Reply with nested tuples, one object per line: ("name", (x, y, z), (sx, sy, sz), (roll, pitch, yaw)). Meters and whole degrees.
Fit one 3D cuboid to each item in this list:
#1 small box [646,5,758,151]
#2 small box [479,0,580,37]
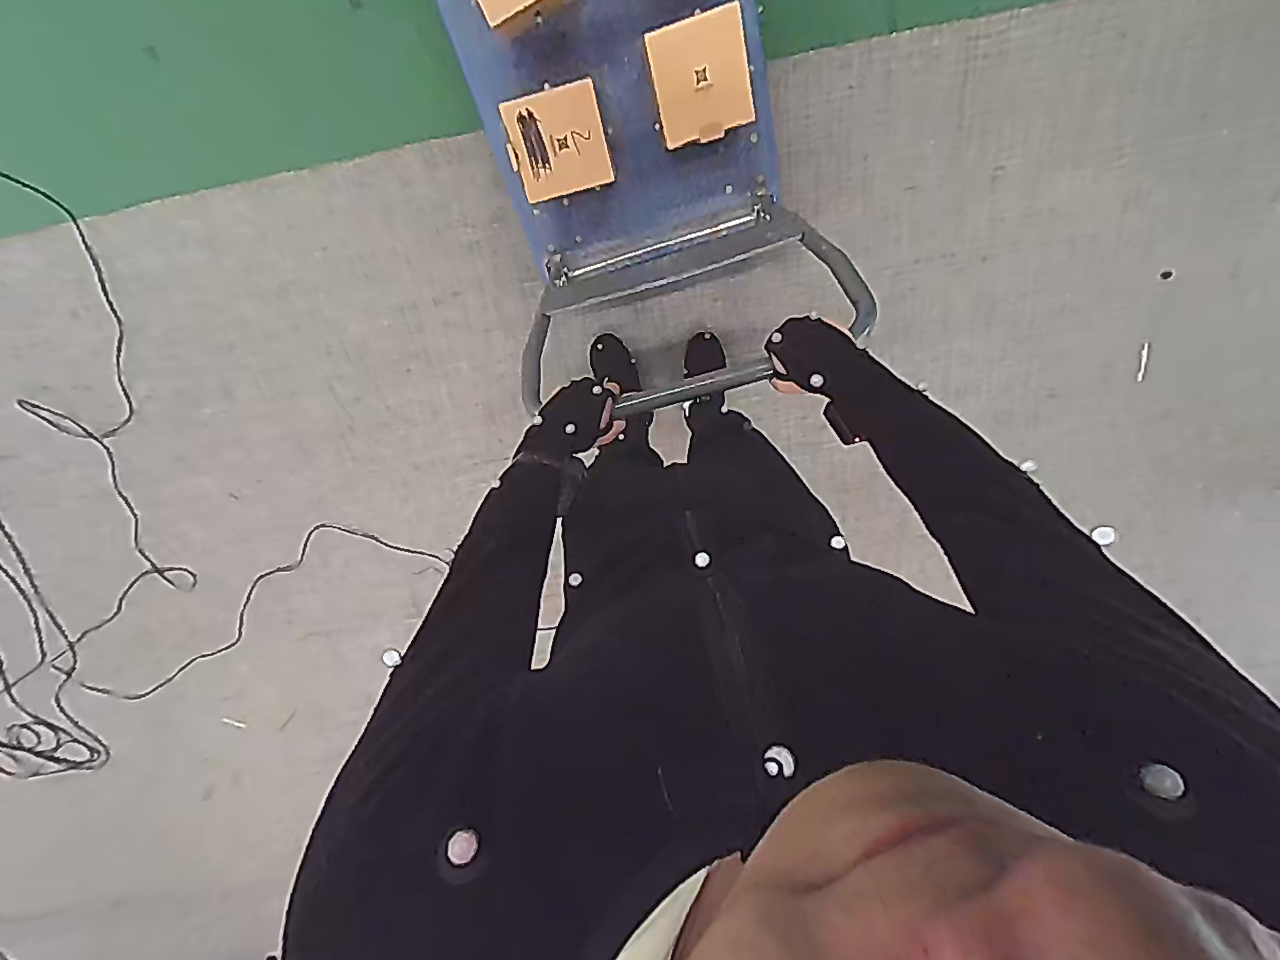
("small box", (0.112, -0.743, 1.015), (0.168, 0.176, 0.179), (-14, 124, 8))
("small box", (-0.207, -0.887, 0.911), (0.168, 0.176, 0.179), (-21, 121, 11))
